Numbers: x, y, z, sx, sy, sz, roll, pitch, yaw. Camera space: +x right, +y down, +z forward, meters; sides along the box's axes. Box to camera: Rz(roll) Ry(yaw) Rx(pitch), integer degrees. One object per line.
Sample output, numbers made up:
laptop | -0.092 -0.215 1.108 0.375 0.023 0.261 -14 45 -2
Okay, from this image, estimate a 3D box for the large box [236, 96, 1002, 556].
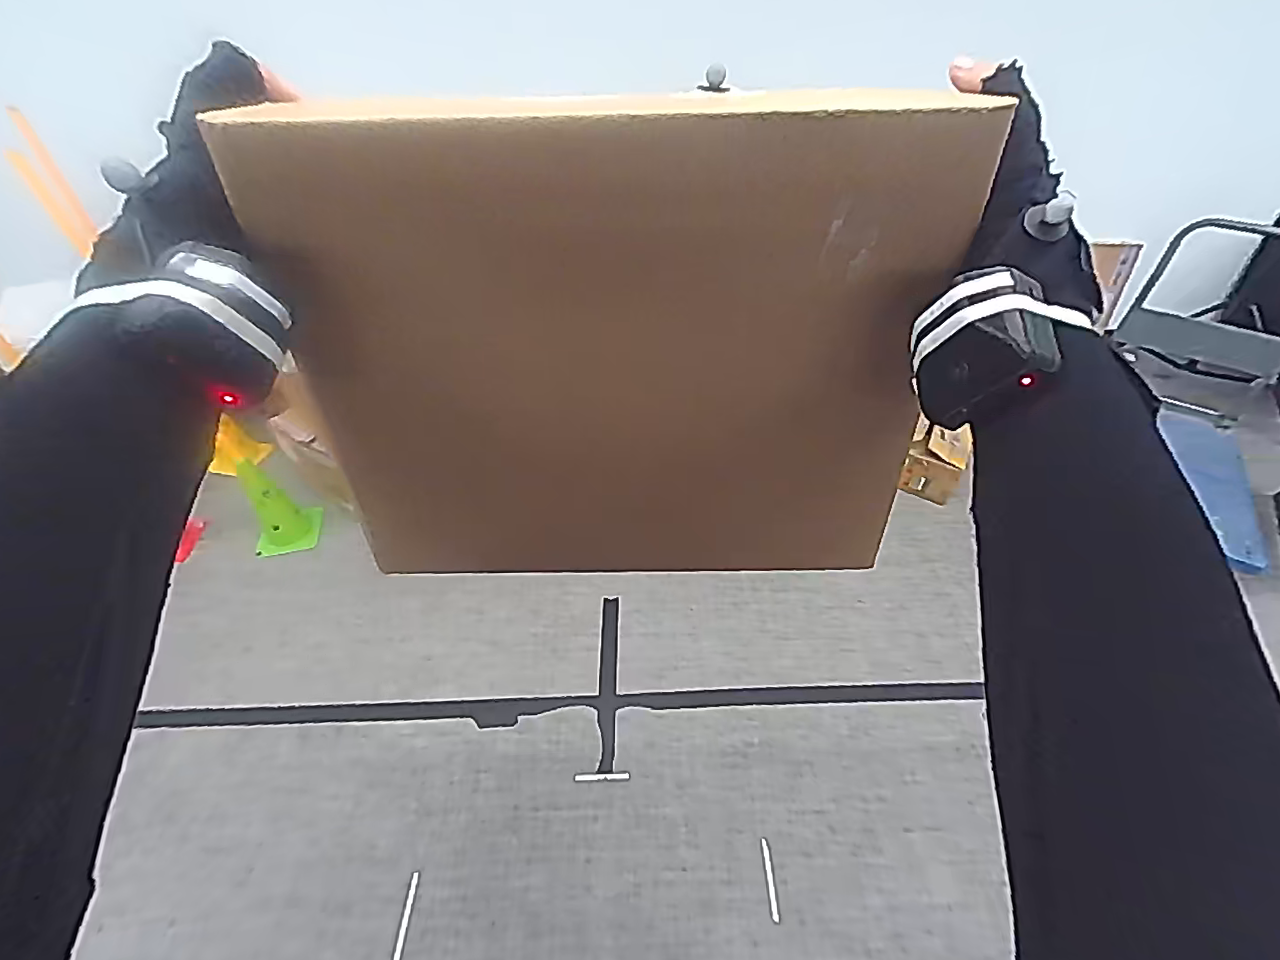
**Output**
large box | -0.012 -0.145 0.480 0.408 0.320 0.320 0 35 0
